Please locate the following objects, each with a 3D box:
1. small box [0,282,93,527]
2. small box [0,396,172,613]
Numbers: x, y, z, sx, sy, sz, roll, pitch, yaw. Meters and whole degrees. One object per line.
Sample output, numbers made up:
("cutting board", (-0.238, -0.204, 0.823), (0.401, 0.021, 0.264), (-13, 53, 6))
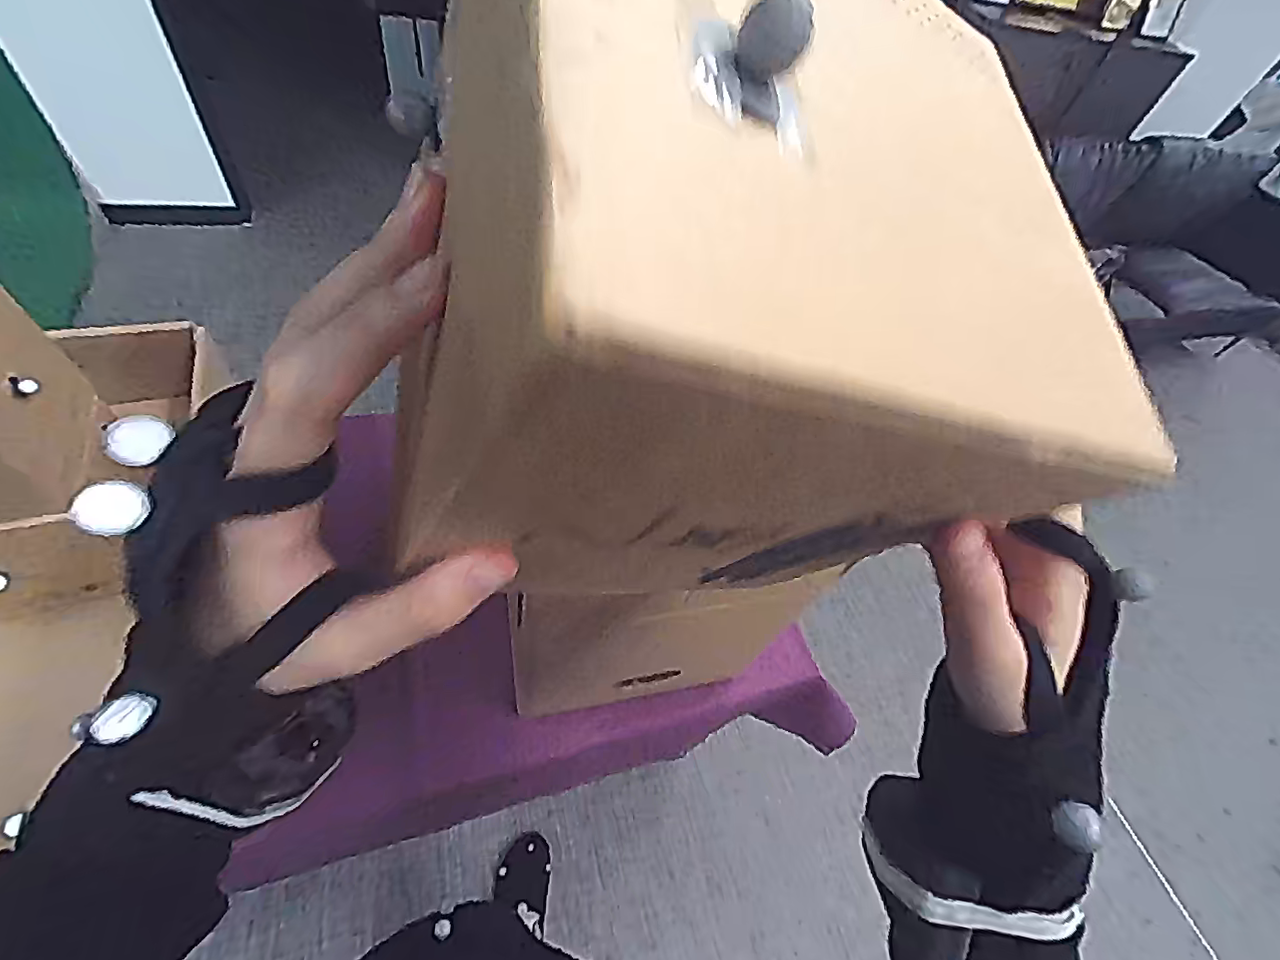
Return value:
("small box", (-0.652, -0.065, 0.487), (0.168, 0.176, 0.179), (-13, 60, -19))
("small box", (-0.677, 0.035, 0.616), (0.168, 0.176, 0.179), (-14, 59, -20))
